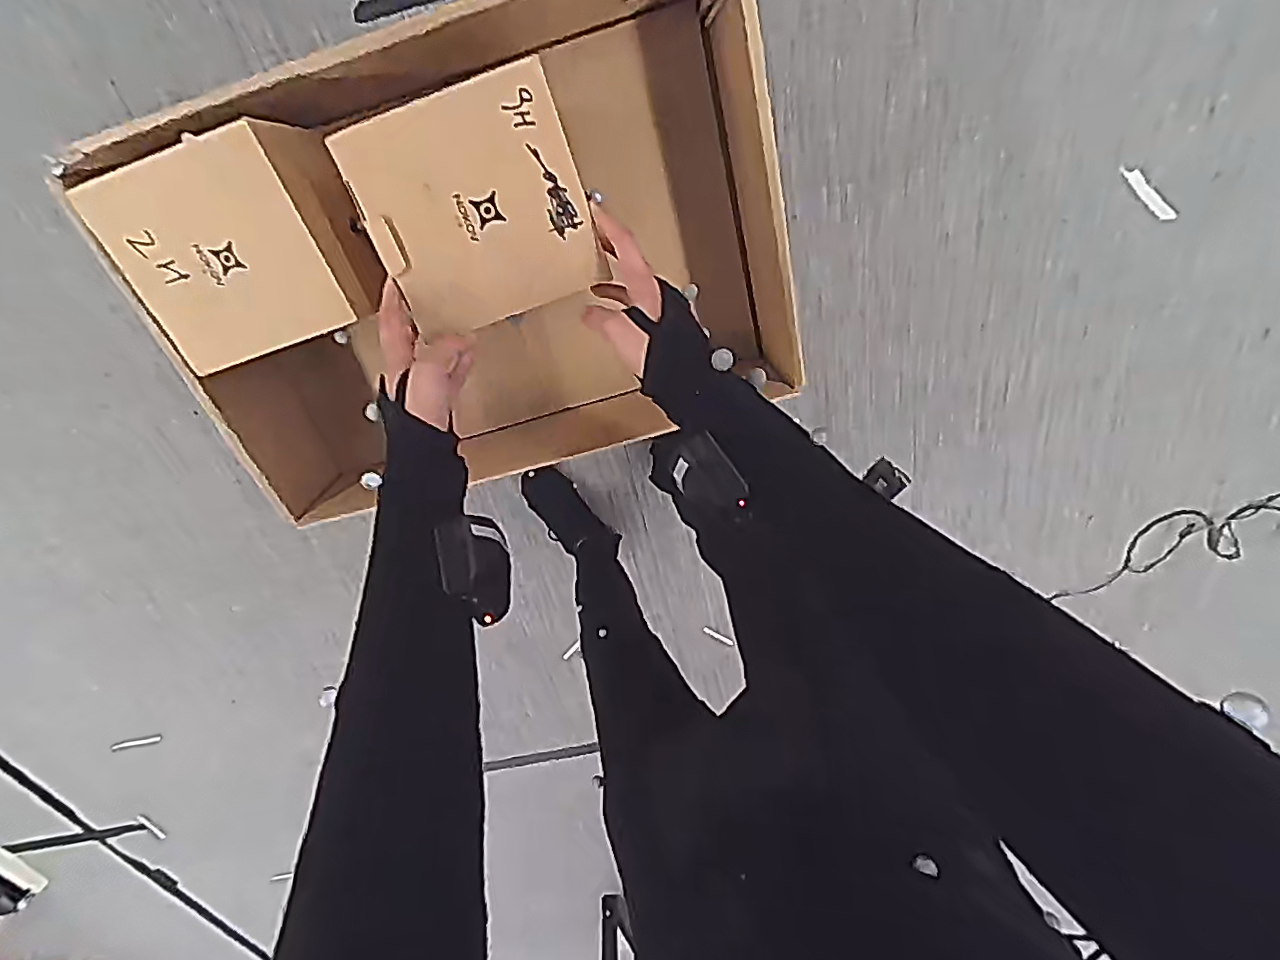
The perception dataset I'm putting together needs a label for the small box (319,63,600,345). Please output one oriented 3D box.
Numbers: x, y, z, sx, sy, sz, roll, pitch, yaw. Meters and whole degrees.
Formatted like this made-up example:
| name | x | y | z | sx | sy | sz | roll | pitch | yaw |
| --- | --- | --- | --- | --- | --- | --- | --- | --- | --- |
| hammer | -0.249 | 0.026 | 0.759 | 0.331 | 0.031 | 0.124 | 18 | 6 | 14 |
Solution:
| name | x | y | z | sx | sy | sz | roll | pitch | yaw |
| --- | --- | --- | --- | --- | --- | --- | --- | --- | --- |
| small box | -0.144 | -0.243 | 0.508 | 0.179 | 0.176 | 0.168 | -18 | 114 | 4 |
